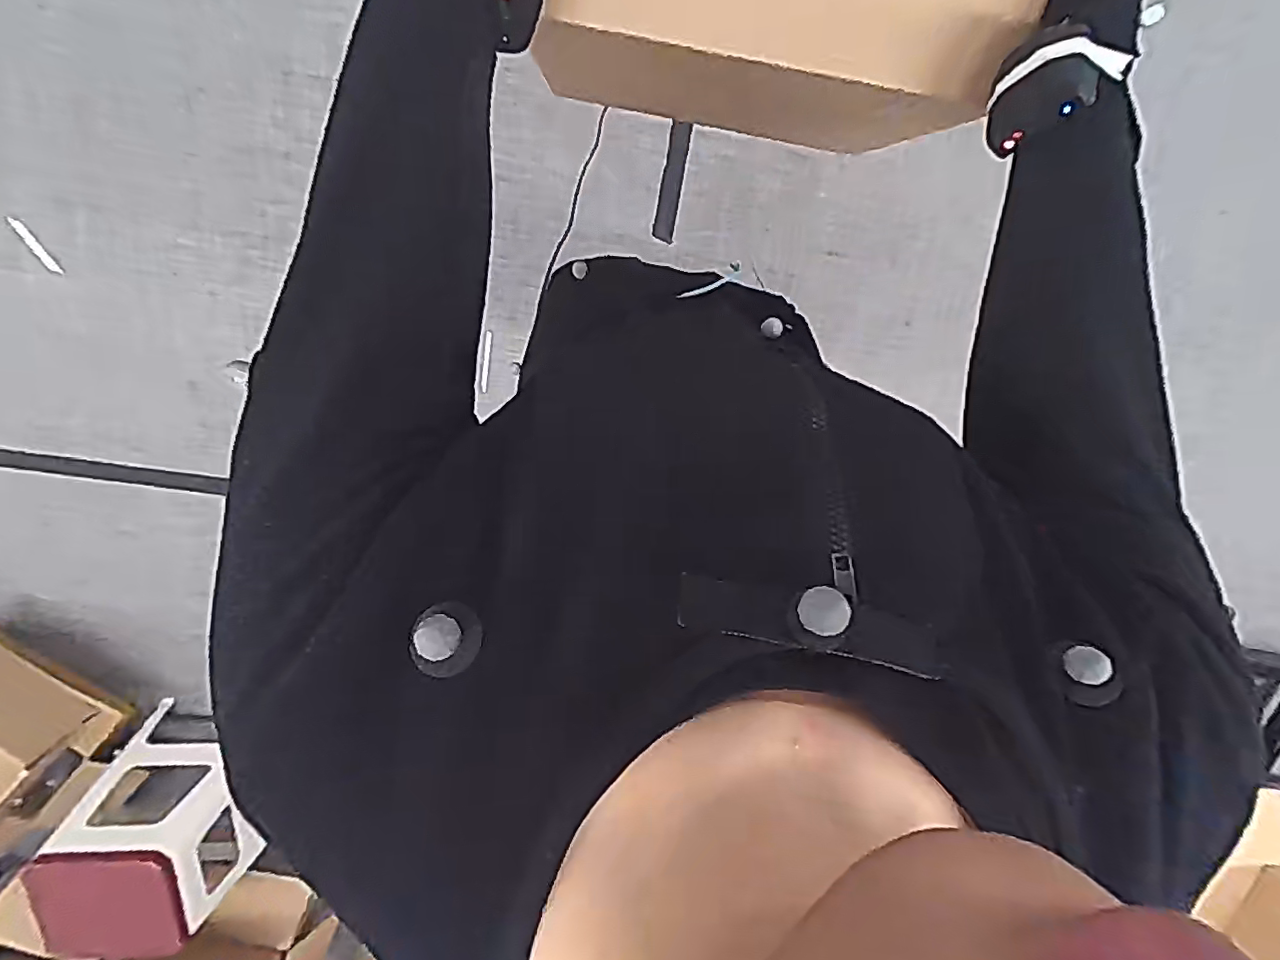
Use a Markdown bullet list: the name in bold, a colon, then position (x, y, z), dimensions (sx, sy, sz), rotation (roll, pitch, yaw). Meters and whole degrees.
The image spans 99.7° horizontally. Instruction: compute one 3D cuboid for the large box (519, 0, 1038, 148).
- **large box**: position (0.117, -0.531, 0.497), dimensions (0.408, 0.320, 0.320), rotation (7, 116, -6)
